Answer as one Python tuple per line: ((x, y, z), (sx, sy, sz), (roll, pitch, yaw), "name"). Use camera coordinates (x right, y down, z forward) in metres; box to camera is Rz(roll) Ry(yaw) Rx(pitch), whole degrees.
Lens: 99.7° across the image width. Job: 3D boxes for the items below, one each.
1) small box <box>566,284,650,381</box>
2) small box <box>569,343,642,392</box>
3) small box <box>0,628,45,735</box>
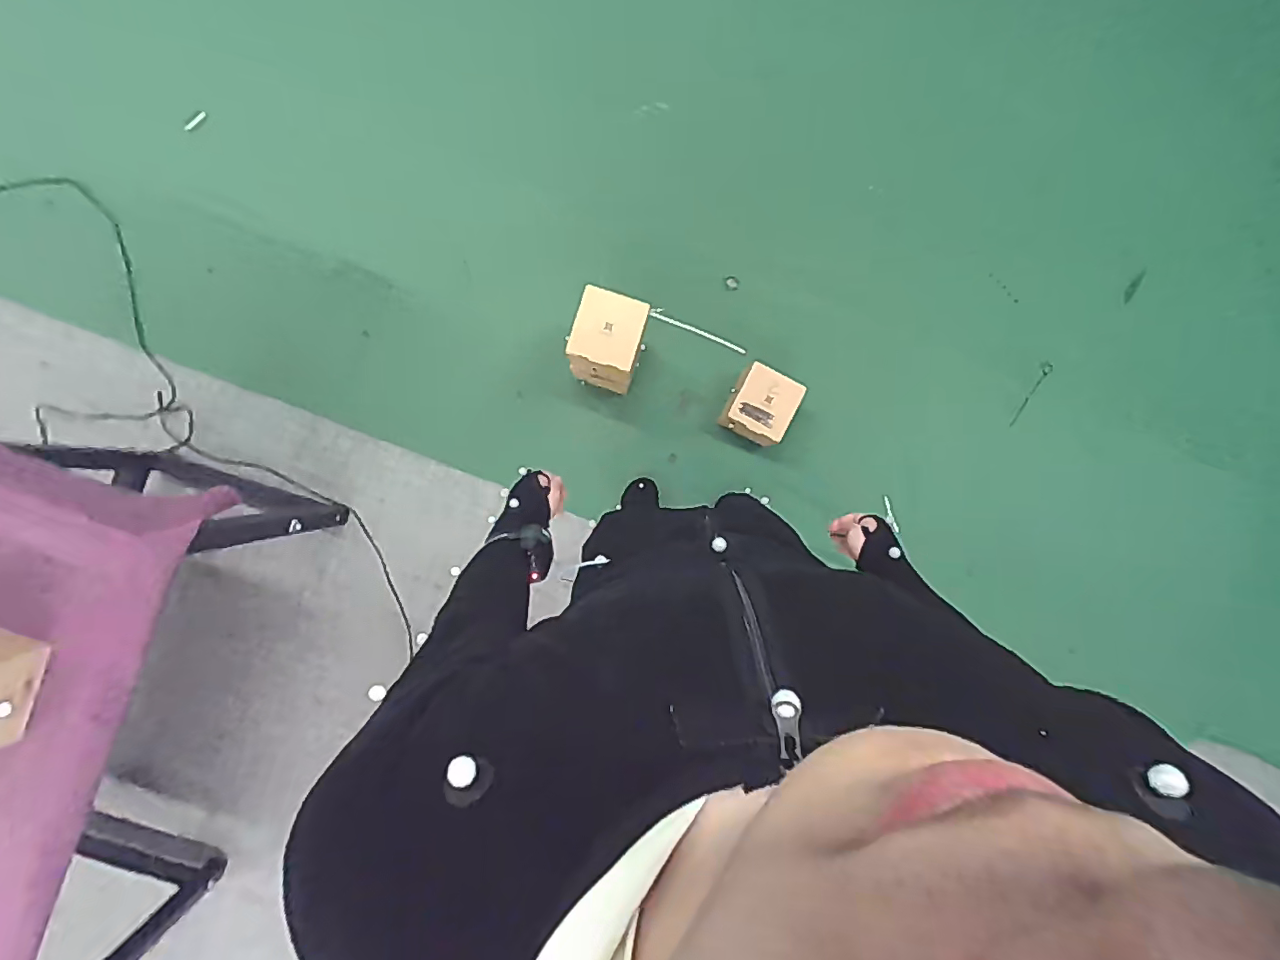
((-0.081, -0.370, 1.387), (0.168, 0.176, 0.179), (18, 90, -2), "small box")
((-0.092, -0.365, 1.549), (0.168, 0.176, 0.179), (19, 89, -2), "small box")
((-1.074, 0.314, 0.800), (0.179, 0.176, 0.168), (20, 91, -1), "small box")
